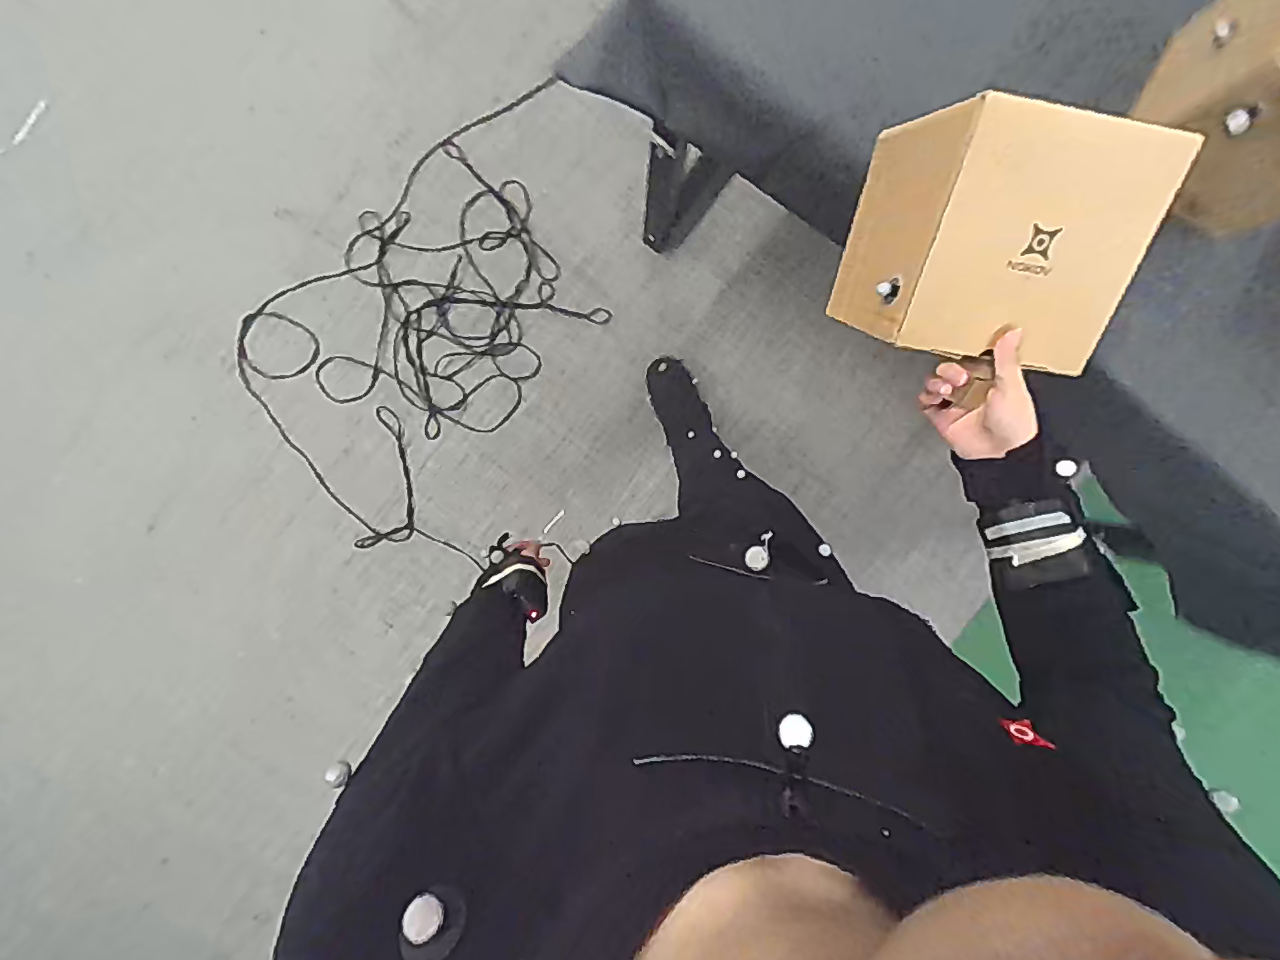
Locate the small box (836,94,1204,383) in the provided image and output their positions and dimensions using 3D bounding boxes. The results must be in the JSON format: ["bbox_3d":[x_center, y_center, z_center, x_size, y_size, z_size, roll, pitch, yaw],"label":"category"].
[{"bbox_3d":[0.295,-0.201,0.472,0.168,0.176,0.179,8,115,-6],"label":"small box"}]
